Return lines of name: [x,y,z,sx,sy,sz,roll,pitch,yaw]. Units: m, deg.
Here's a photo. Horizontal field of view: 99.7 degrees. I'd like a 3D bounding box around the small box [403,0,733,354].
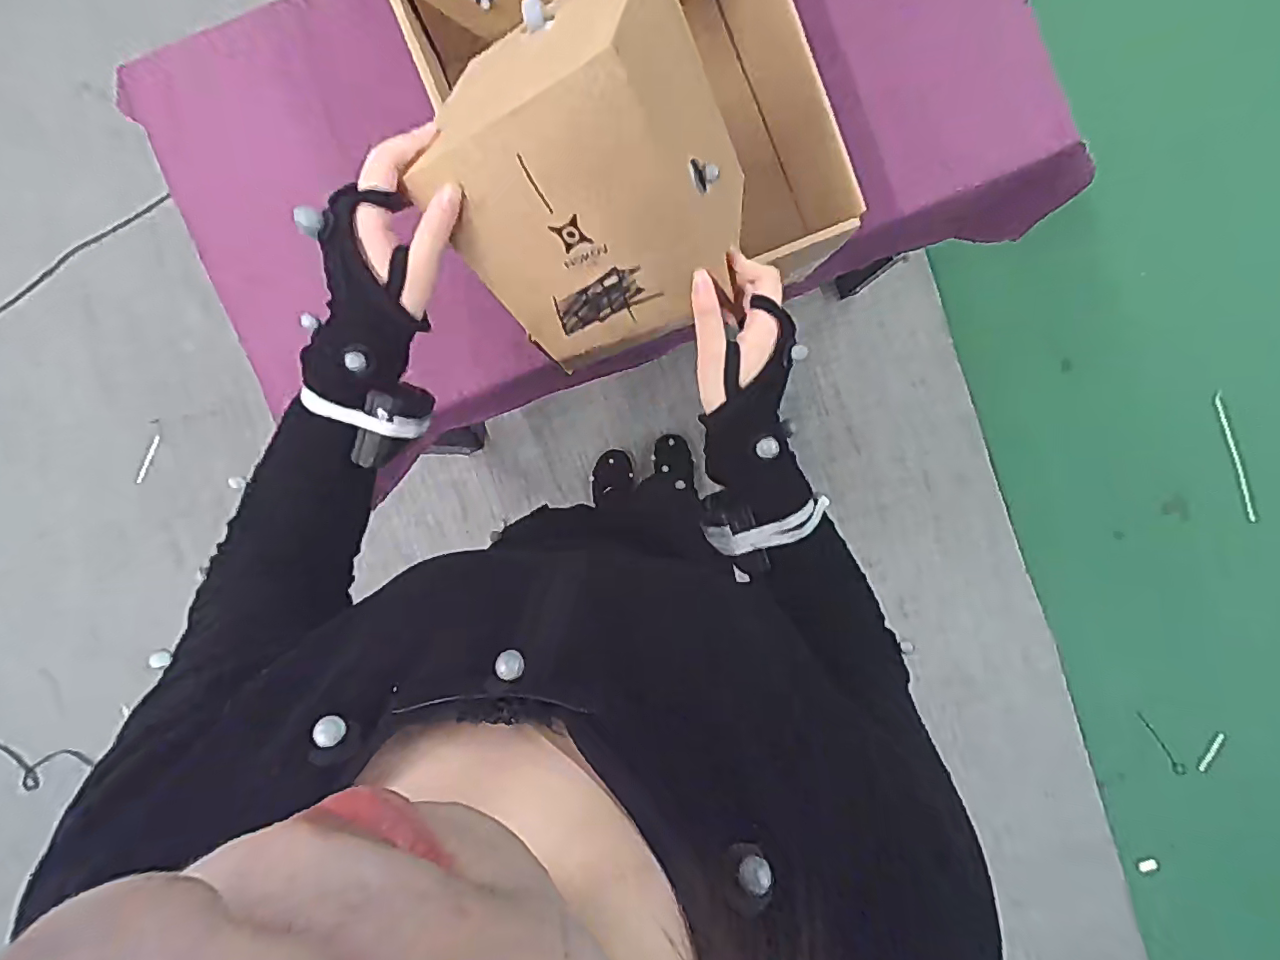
small box: [-0.035,-0.234,0.419,0.168,0.179,0.176,-10,53,29]
